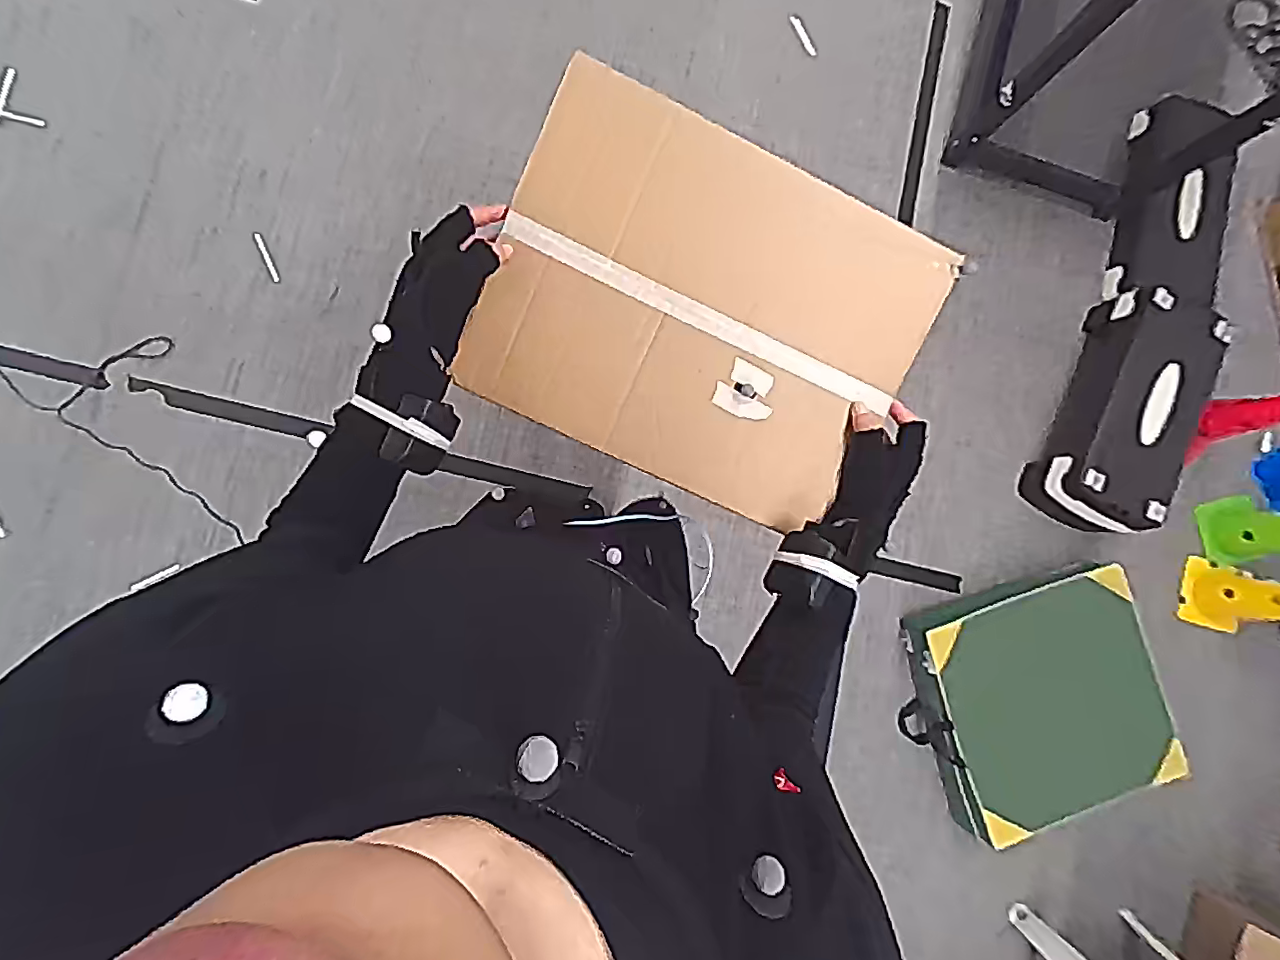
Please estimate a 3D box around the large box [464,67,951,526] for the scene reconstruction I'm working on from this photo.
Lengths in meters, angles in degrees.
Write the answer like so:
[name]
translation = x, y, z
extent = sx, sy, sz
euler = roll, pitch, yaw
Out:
[large box]
translation = 0.058, -0.188, 0.677
extent = 0.408, 0.320, 0.320
euler = 25, 98, -7
